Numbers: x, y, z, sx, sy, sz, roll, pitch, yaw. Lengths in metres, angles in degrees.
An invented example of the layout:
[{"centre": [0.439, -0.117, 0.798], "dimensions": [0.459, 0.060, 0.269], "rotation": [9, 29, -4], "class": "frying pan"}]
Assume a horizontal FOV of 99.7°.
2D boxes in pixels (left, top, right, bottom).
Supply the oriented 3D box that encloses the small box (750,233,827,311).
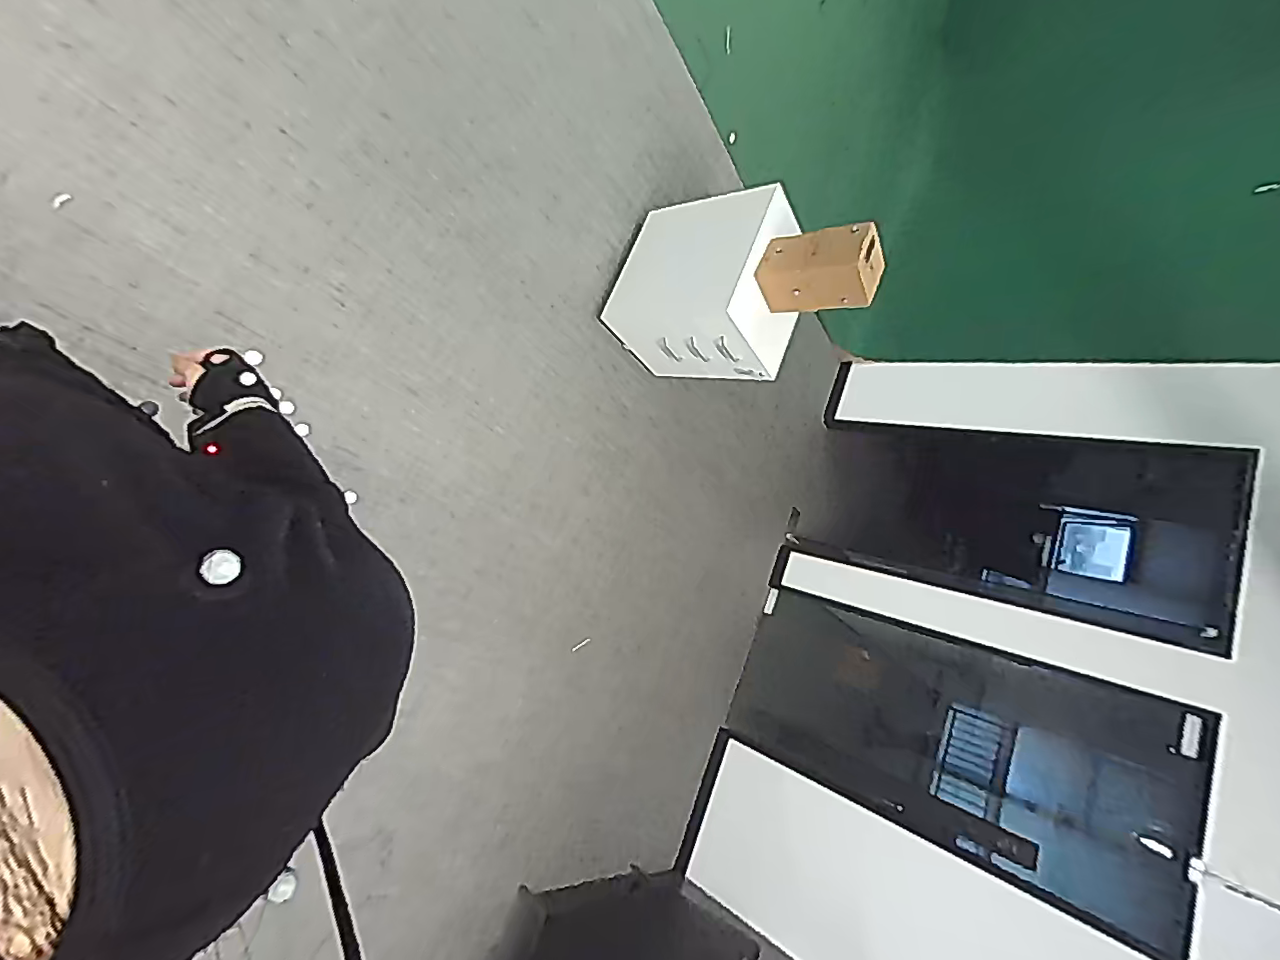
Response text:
[{"centre": [0.484, -0.676, 1.766], "dimensions": [0.179, 0.176, 0.168], "rotation": [46, 64, -46], "class": "small box"}]
